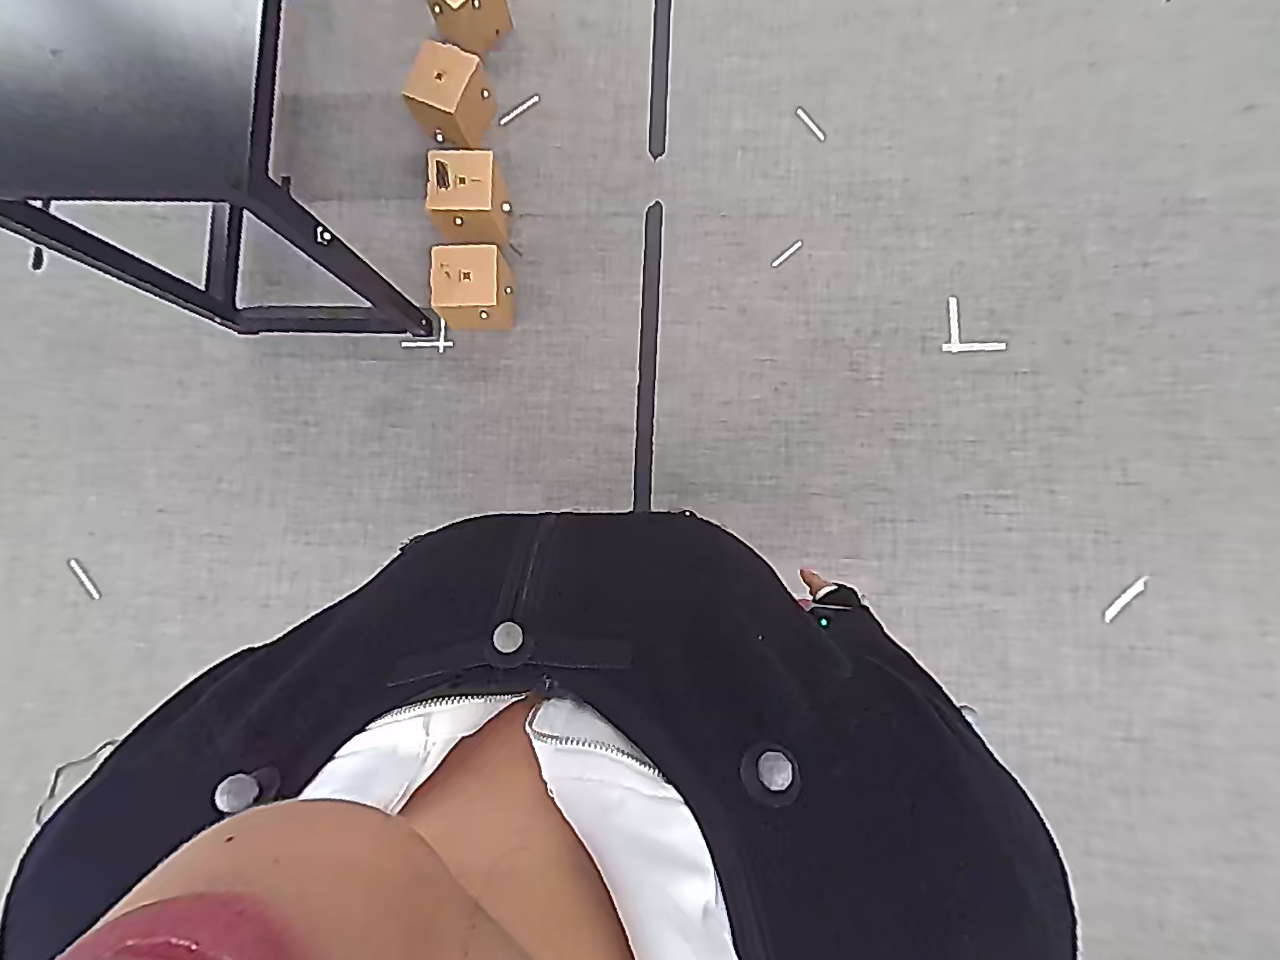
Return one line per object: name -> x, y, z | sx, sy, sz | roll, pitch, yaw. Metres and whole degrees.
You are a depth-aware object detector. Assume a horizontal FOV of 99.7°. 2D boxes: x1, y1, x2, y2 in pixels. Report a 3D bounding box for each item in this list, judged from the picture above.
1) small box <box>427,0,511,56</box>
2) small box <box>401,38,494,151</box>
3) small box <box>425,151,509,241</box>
small box -> -0.503, -1.383, 1.550 | 0.168, 0.176, 0.179 | -45, 86, -1
small box -> -0.535, -1.082, 1.534 | 0.168, 0.176, 0.179 | 22, 88, 4
small box -> -0.478, -0.787, 1.511 | 0.179, 0.176, 0.168 | 1, 86, 1
